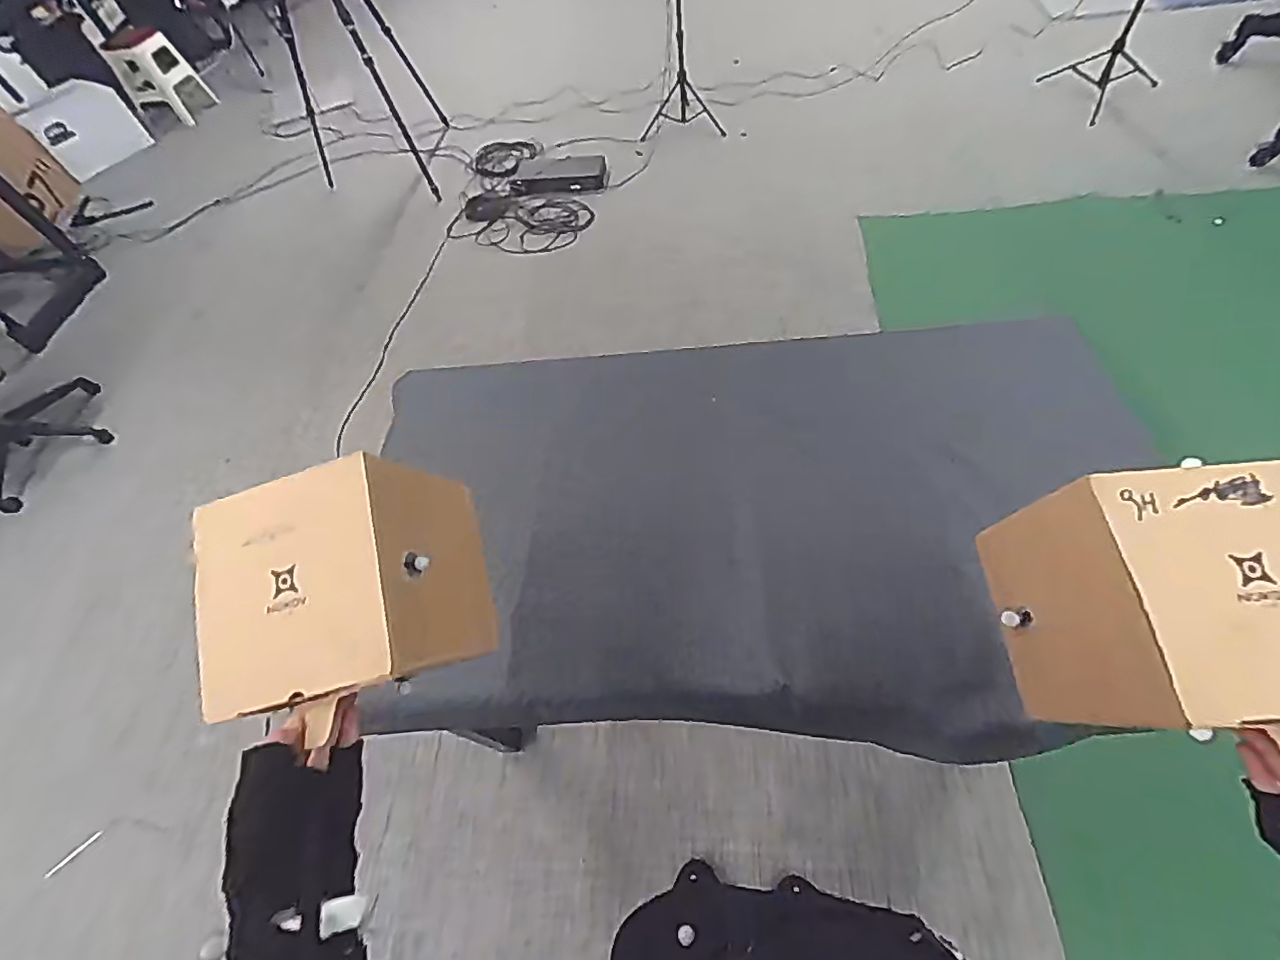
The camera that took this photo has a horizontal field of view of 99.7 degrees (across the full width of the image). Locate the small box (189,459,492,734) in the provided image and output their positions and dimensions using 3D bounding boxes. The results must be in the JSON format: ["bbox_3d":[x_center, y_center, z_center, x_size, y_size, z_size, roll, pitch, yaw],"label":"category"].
[{"bbox_3d":[-0.252,0.101,0.486,0.168,0.176,0.179,-17,75,8],"label":"small box"}]
